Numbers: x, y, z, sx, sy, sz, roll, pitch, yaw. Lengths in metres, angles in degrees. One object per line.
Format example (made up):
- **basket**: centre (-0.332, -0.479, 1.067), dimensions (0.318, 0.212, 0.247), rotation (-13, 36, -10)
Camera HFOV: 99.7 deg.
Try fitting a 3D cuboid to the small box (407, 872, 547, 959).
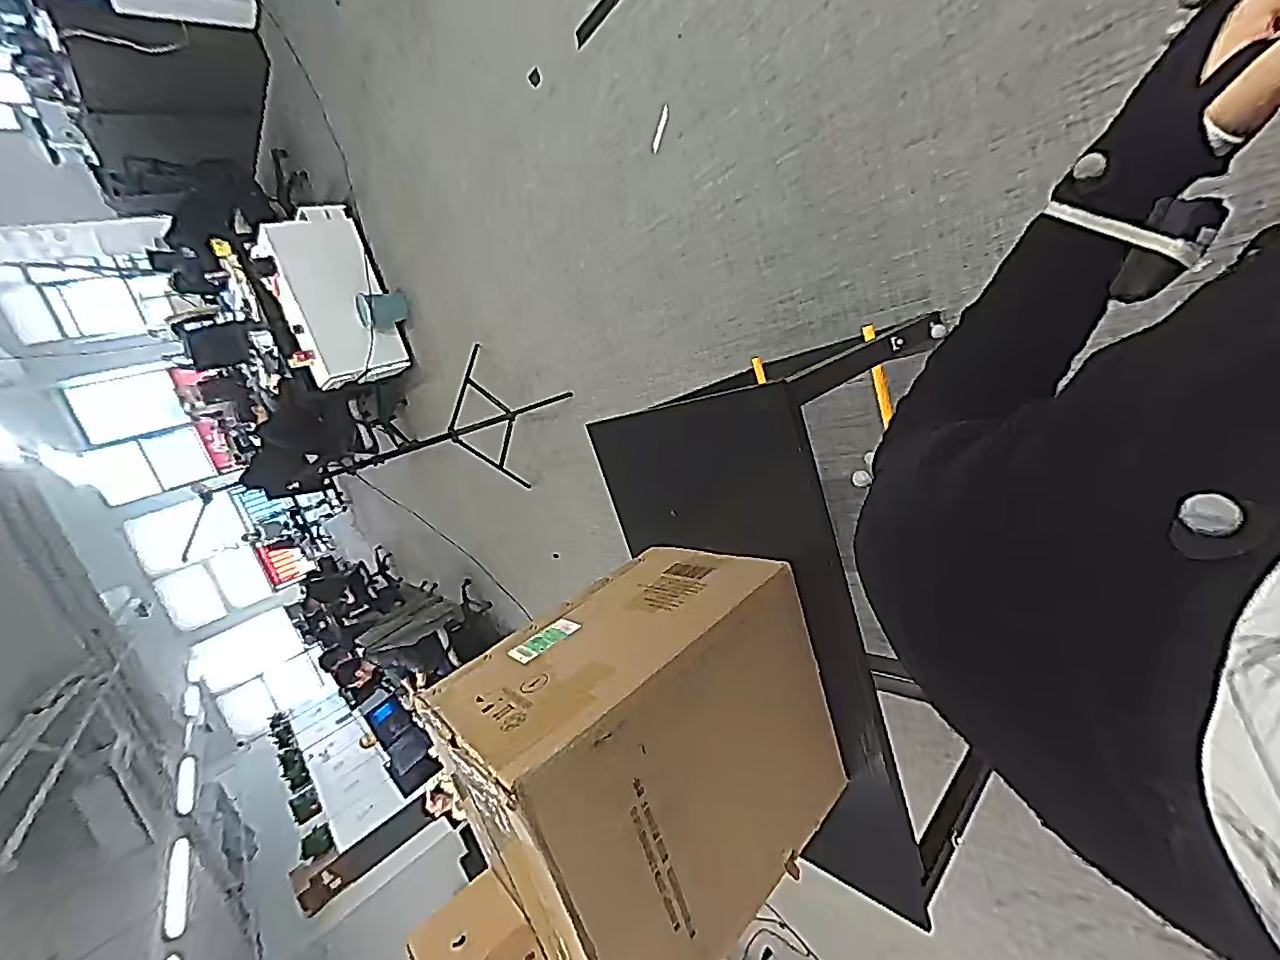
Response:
- **small box**: centre (-0.265, 0.826, 0.922), dimensions (0.179, 0.176, 0.168), rotation (-9, 104, 54)
